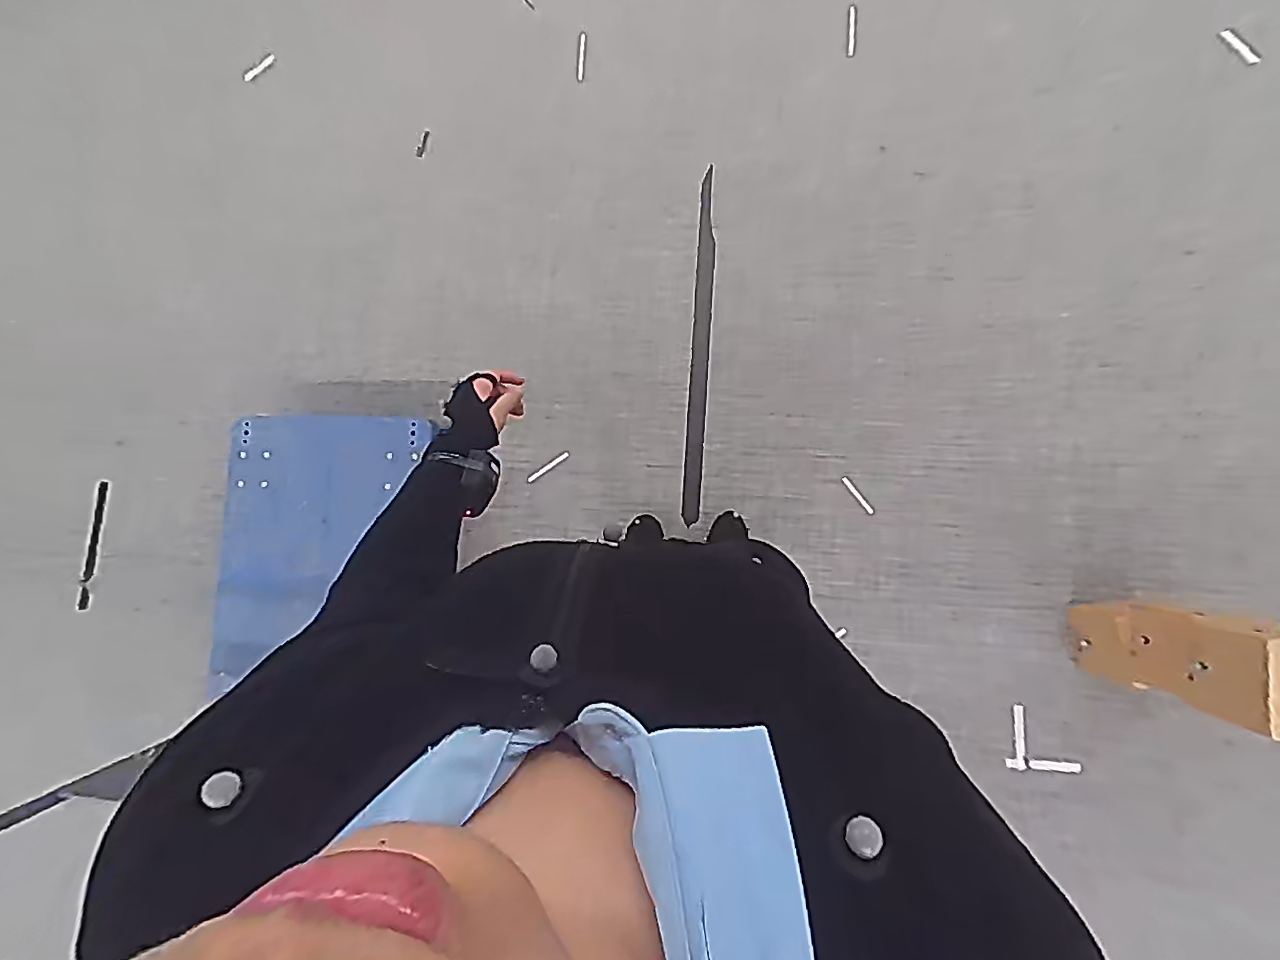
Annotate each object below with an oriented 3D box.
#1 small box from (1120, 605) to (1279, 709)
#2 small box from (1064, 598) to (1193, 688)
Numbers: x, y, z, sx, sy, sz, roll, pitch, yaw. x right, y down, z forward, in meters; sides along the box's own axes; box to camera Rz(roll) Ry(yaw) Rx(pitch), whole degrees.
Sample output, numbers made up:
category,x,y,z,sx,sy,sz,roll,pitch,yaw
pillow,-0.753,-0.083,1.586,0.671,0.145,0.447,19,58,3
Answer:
category,x,y,z,sx,sy,sz,roll,pitch,yaw
small box,1.161,0.359,1.126,0.179,0.176,0.168,3,85,6
small box,1.170,0.381,1.287,0.179,0.176,0.168,-9,83,5
